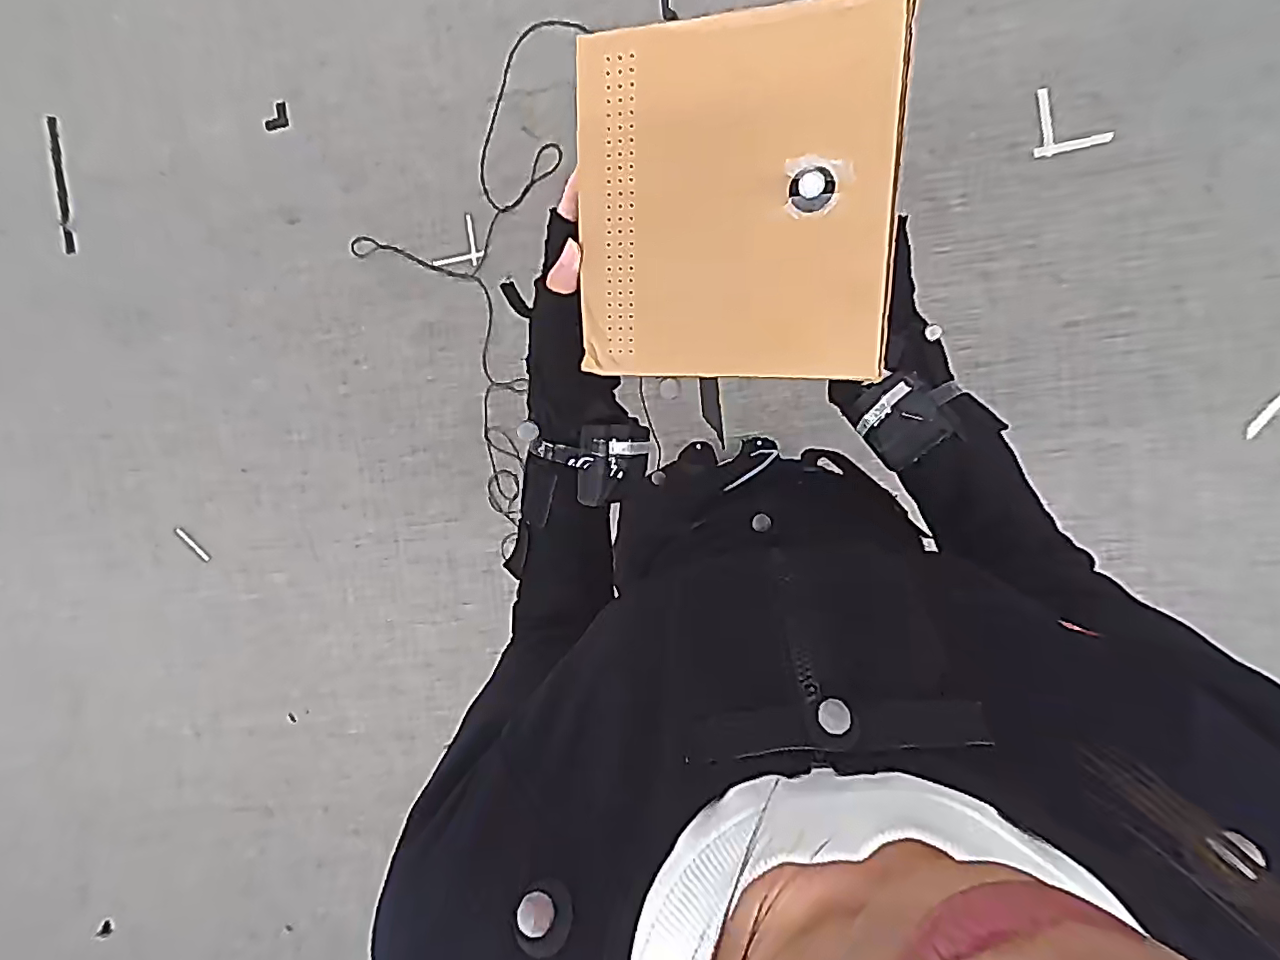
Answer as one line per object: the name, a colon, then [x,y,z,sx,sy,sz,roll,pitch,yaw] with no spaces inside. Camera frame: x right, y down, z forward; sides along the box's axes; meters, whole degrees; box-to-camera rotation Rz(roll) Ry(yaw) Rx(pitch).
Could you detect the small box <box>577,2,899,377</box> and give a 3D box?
small box: [0.062,-0.161,0.366,0.176,0.168,0.179,4,103,16]
